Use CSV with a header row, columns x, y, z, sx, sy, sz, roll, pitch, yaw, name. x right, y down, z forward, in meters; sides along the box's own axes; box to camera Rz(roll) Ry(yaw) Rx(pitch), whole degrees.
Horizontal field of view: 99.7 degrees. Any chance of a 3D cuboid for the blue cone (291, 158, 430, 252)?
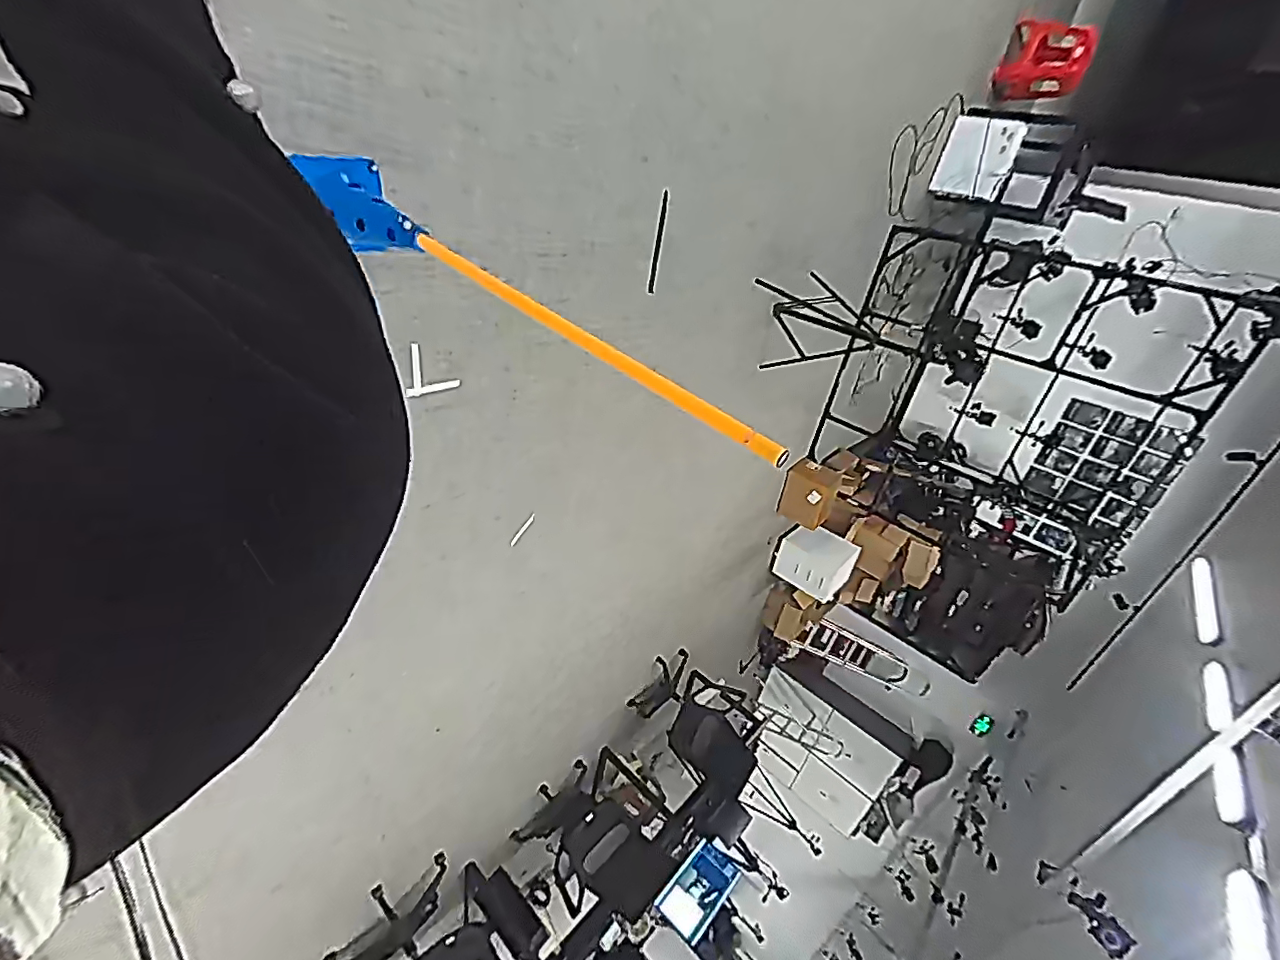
x,y,z,sx,sy,sz,roll,pitch,yaw,name
-0.559,-0.556,1.153,0.193,0.380,0.192,-26,135,-42,blue cone
